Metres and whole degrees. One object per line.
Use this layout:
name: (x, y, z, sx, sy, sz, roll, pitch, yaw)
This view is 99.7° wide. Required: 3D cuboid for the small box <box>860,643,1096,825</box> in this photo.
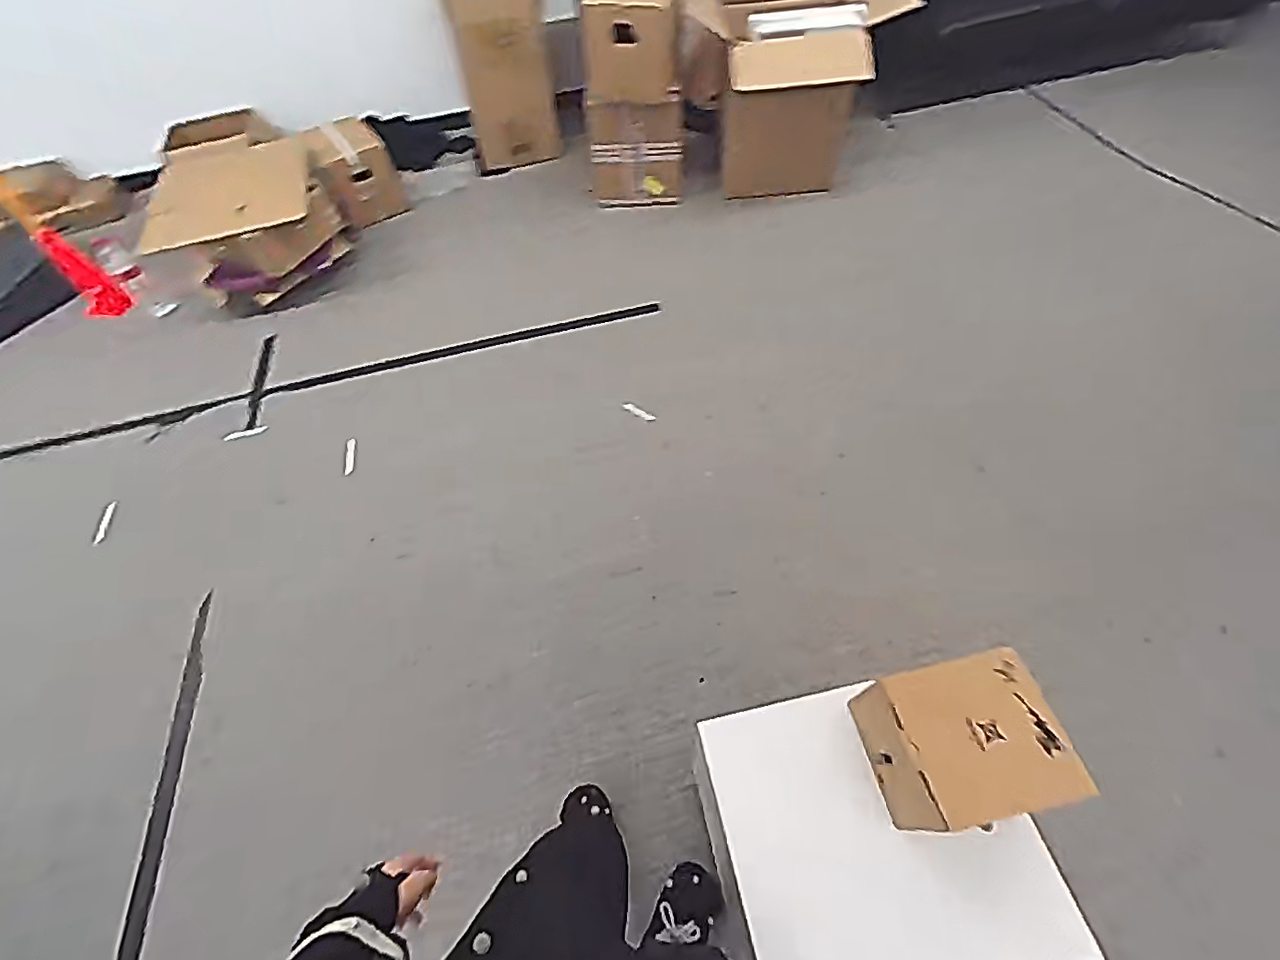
small box: (0.401, 0.328, 0.688, 0.179, 0.176, 0.168, -13, 58, -2)
